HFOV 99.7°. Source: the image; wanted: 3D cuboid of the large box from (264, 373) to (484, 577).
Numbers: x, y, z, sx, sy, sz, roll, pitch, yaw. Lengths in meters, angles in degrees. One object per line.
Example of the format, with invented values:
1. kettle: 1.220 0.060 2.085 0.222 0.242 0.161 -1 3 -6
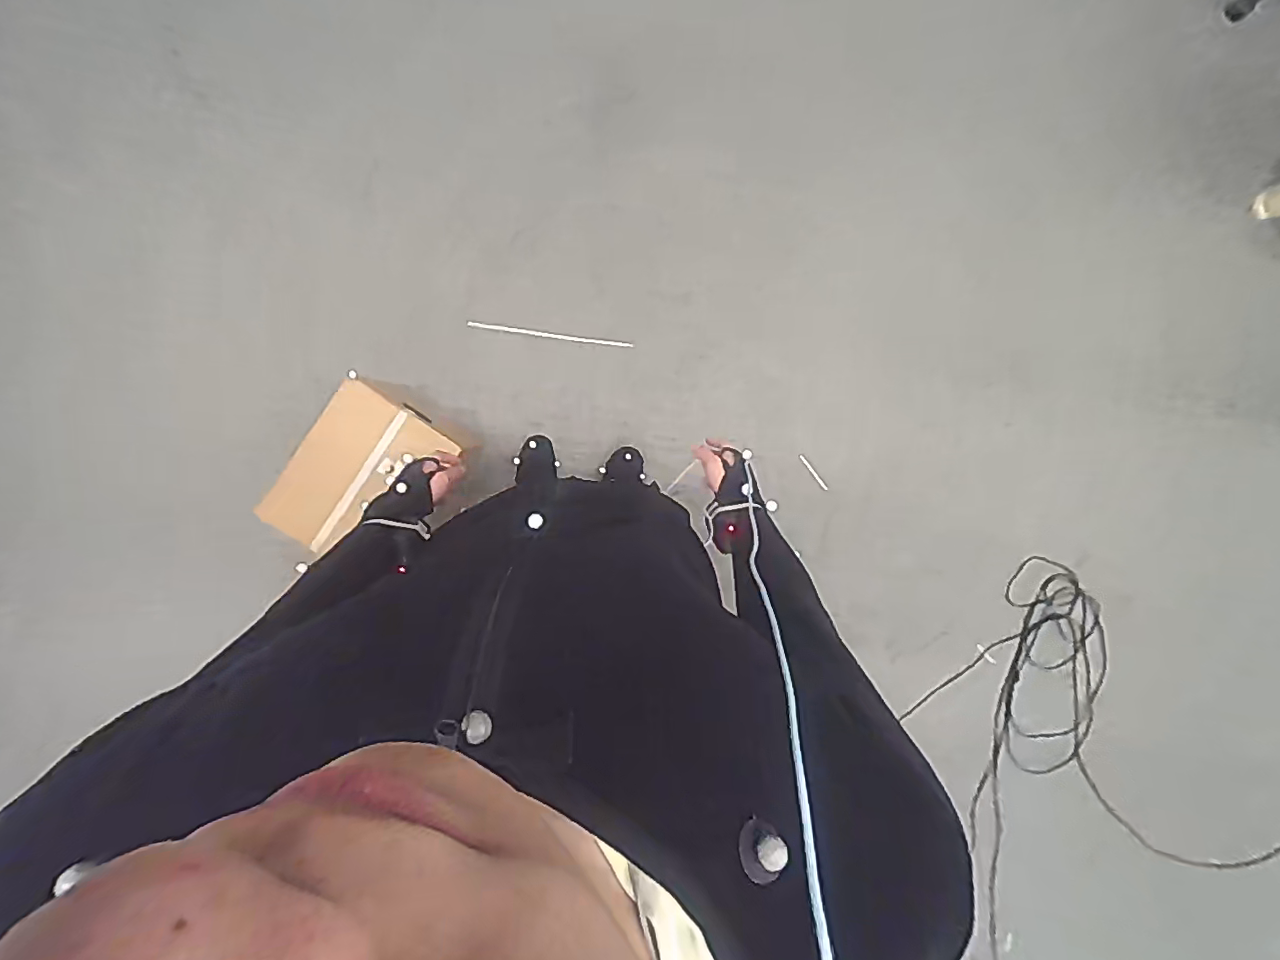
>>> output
1. large box: -0.680 -0.017 1.449 0.320 0.320 0.408 35 91 -8
